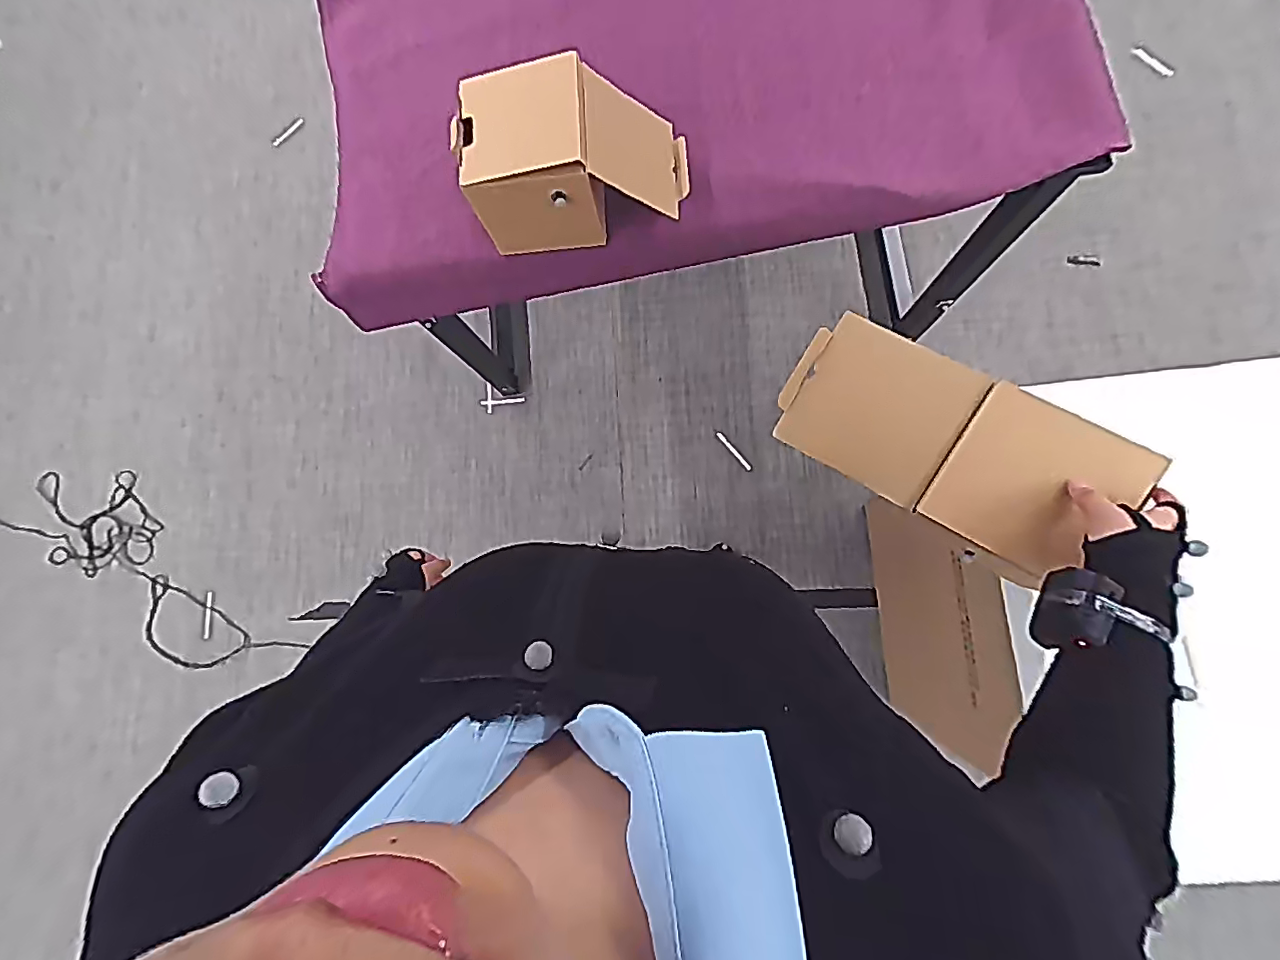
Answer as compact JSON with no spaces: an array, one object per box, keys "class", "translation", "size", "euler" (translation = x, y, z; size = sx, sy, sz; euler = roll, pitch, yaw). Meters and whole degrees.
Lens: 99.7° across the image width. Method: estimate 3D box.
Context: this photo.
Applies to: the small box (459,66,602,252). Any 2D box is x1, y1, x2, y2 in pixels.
[{"class":"small box","translation":[-0.152,-0.464,0.807],"size":[0.179,0.176,0.168],"euler":[-3,80,5]}]
